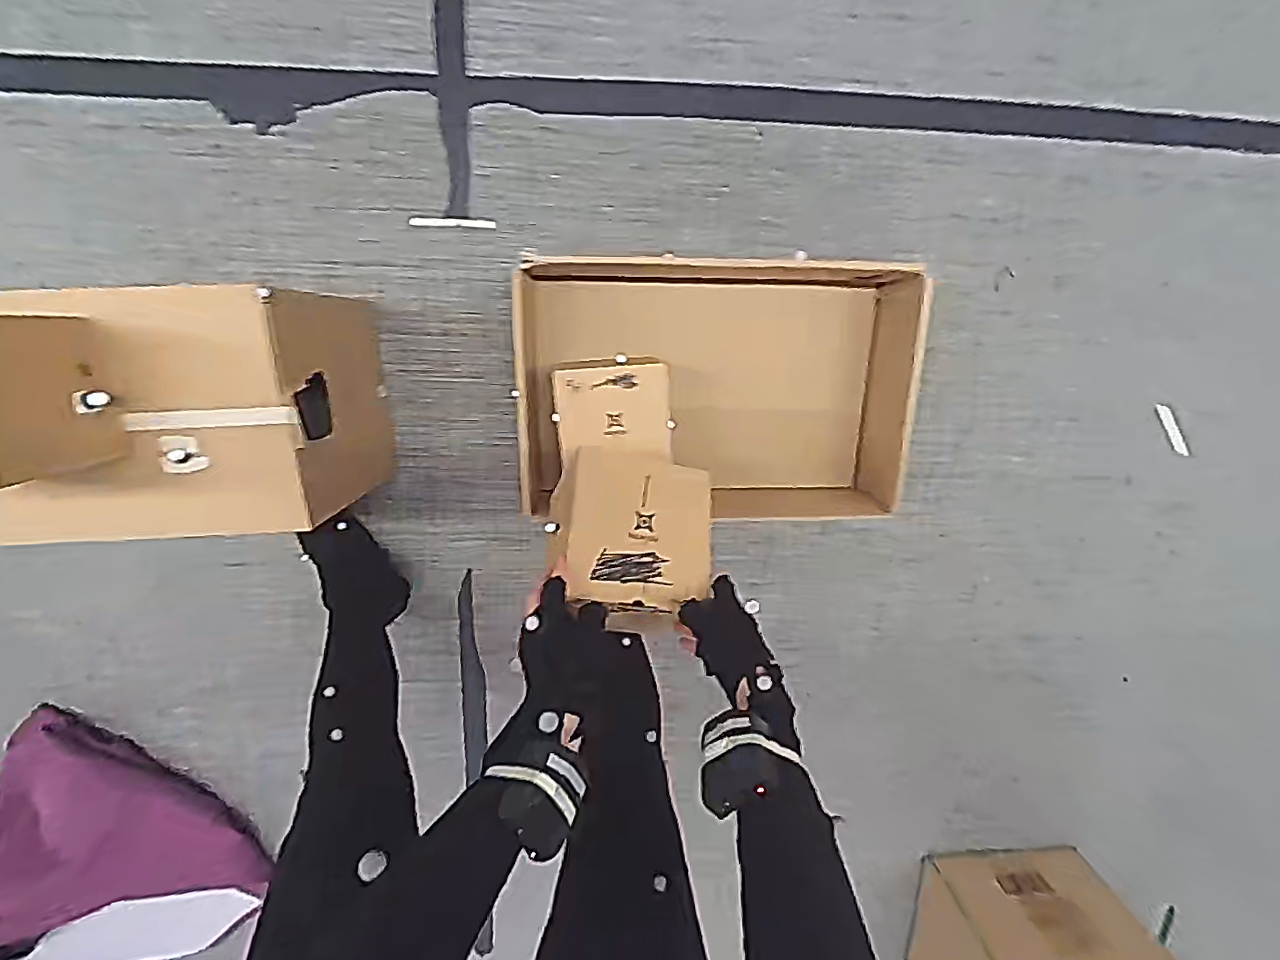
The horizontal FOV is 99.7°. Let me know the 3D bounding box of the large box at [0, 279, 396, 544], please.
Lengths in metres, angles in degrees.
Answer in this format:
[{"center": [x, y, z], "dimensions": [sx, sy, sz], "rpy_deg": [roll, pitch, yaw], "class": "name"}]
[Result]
[{"center": [-0.645, -0.115, 0.814], "dimensions": [0.408, 0.320, 0.320], "rpy_deg": [-4, 106, -4], "class": "large box"}]
